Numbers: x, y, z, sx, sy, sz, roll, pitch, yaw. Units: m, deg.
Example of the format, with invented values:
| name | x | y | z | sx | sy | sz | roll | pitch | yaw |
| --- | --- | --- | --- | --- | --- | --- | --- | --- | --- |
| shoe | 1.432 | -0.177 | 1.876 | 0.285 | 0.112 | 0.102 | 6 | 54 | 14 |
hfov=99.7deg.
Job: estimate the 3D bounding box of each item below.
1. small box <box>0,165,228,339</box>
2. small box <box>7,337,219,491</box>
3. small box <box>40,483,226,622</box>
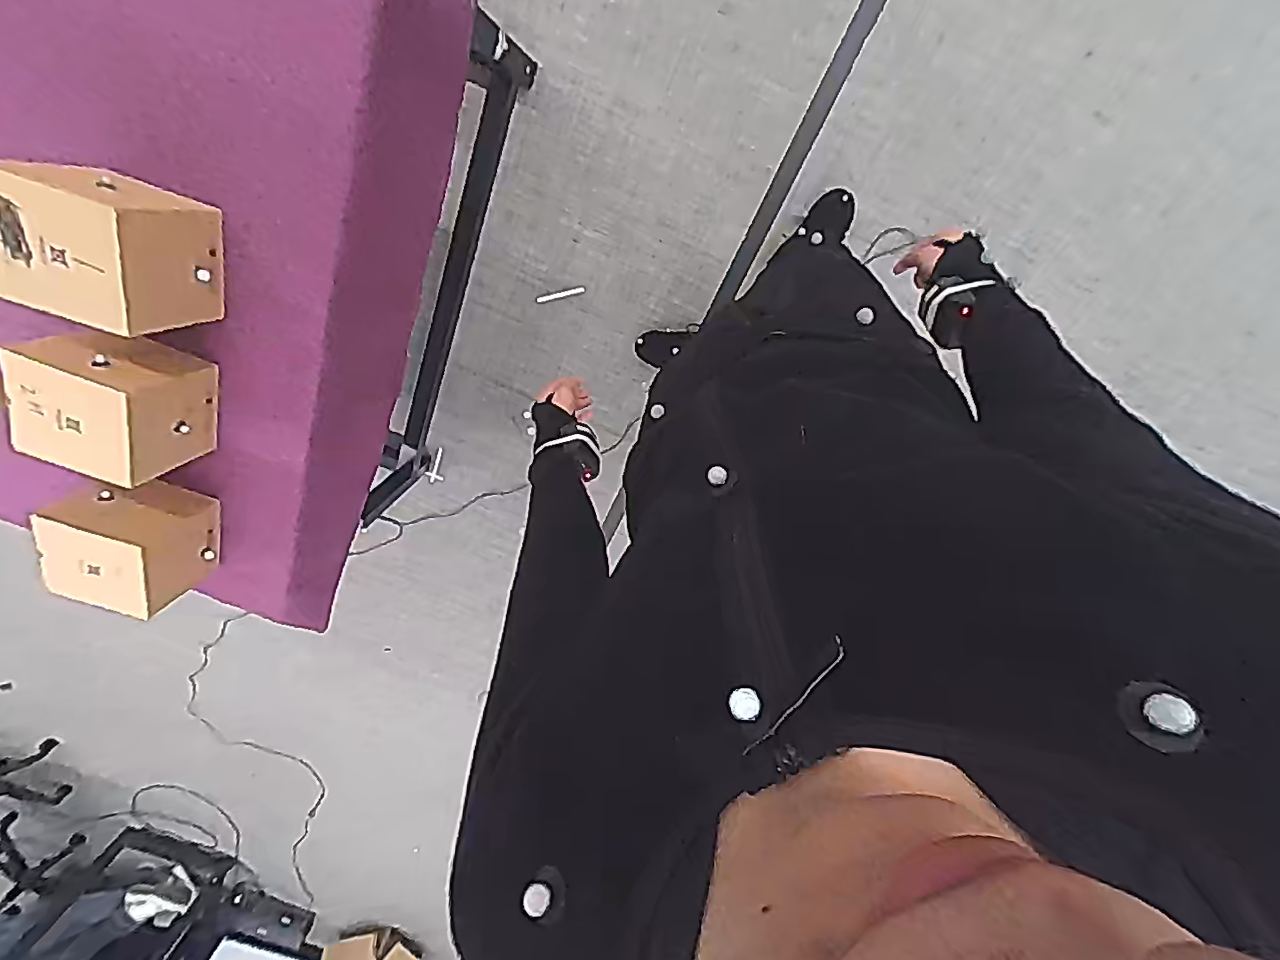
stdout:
| name | x | y | z | sx | sy | sz | roll | pitch | yaw |
| --- | --- | --- | --- | --- | --- | --- | --- | --- | --- |
| small box | -0.726 | -0.315 | 0.755 | 0.179 | 0.176 | 0.168 | 18 | 116 | -4 |
| small box | -0.813 | -0.114 | 0.857 | 0.179 | 0.176 | 0.168 | 21 | 115 | -4 |
| small box | -0.898 | 0.119 | 0.975 | 0.179 | 0.176 | 0.168 | 20 | 116 | -3 |
